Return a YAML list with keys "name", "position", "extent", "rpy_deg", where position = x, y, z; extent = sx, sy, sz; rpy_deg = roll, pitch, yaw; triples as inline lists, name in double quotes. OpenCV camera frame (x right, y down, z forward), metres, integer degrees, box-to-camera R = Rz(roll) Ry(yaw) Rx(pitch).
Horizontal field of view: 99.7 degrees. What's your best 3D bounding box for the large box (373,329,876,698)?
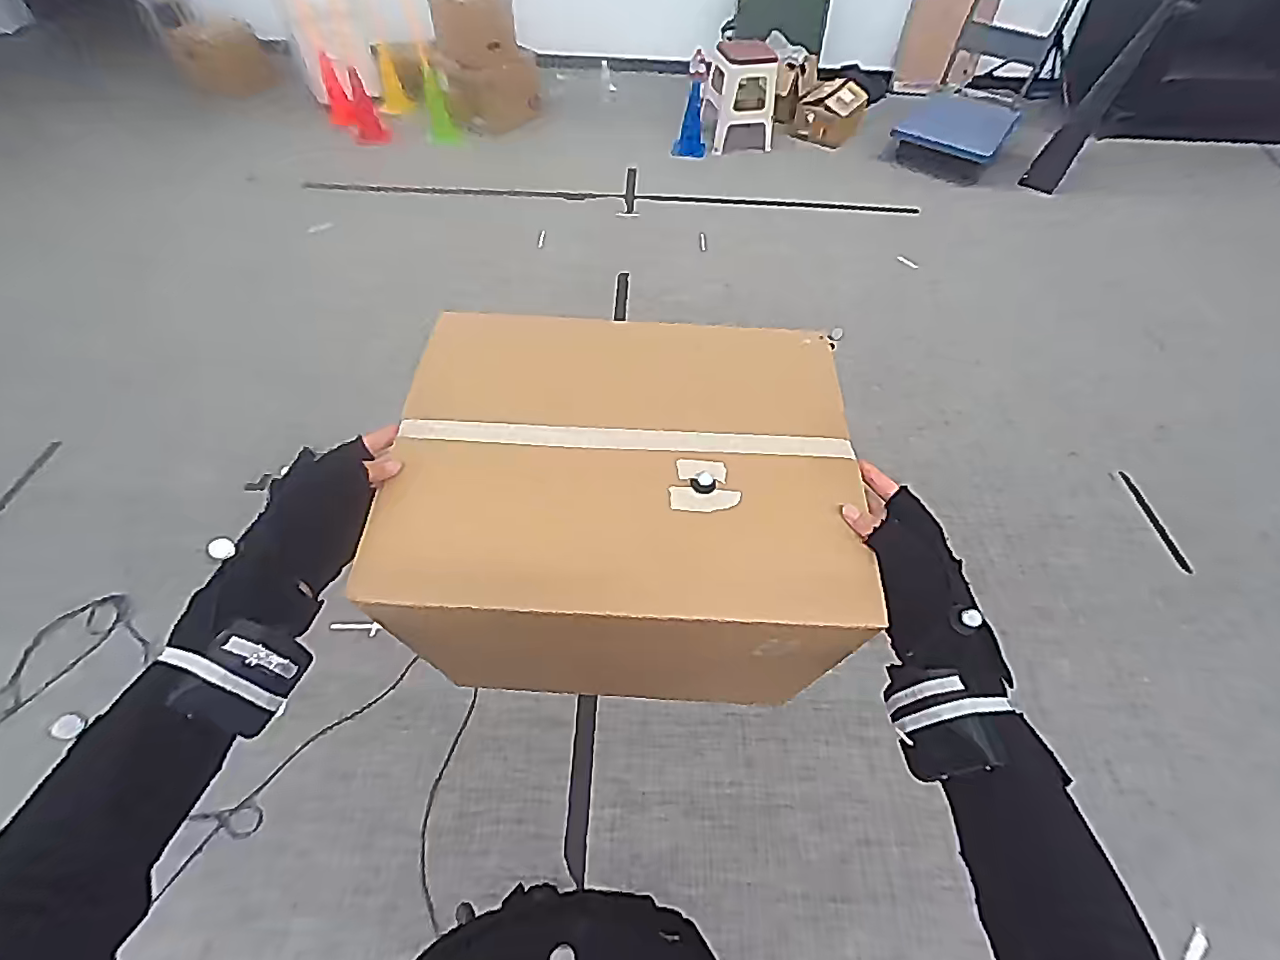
- name: "large box"
  position: [-0.013, 0.055, 0.625]
  extent: [0.408, 0.320, 0.320]
  rpy_deg: [3, 58, 0]
